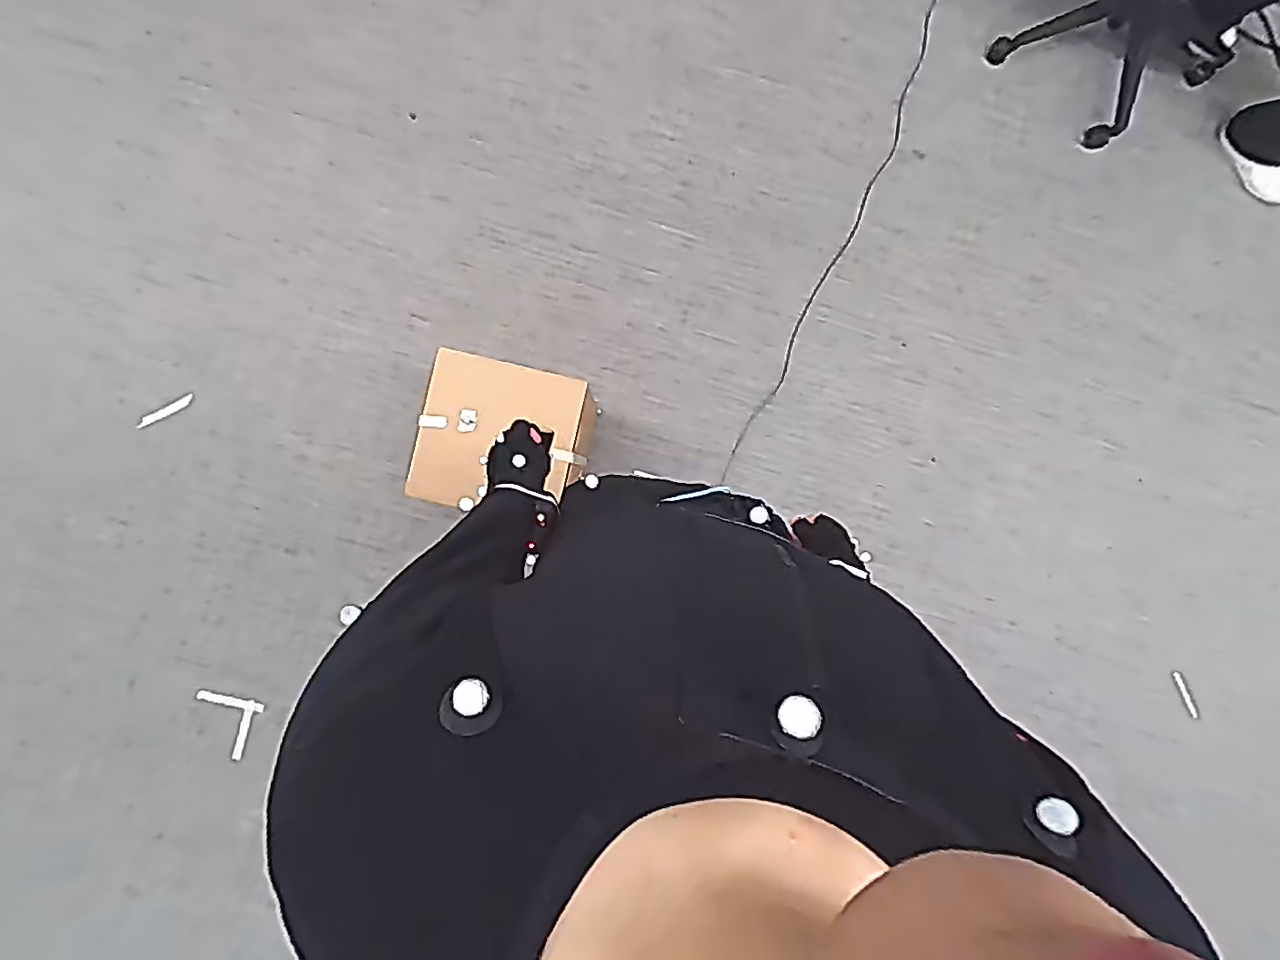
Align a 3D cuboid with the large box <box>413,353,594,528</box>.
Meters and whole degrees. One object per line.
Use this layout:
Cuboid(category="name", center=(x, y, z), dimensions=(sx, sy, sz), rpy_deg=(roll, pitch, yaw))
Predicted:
Cuboid(category="large box", center=(-0.298, -0.089, 1.295), dimensions=(0.320, 0.408, 0.320), rpy_deg=(14, 91, -3))
